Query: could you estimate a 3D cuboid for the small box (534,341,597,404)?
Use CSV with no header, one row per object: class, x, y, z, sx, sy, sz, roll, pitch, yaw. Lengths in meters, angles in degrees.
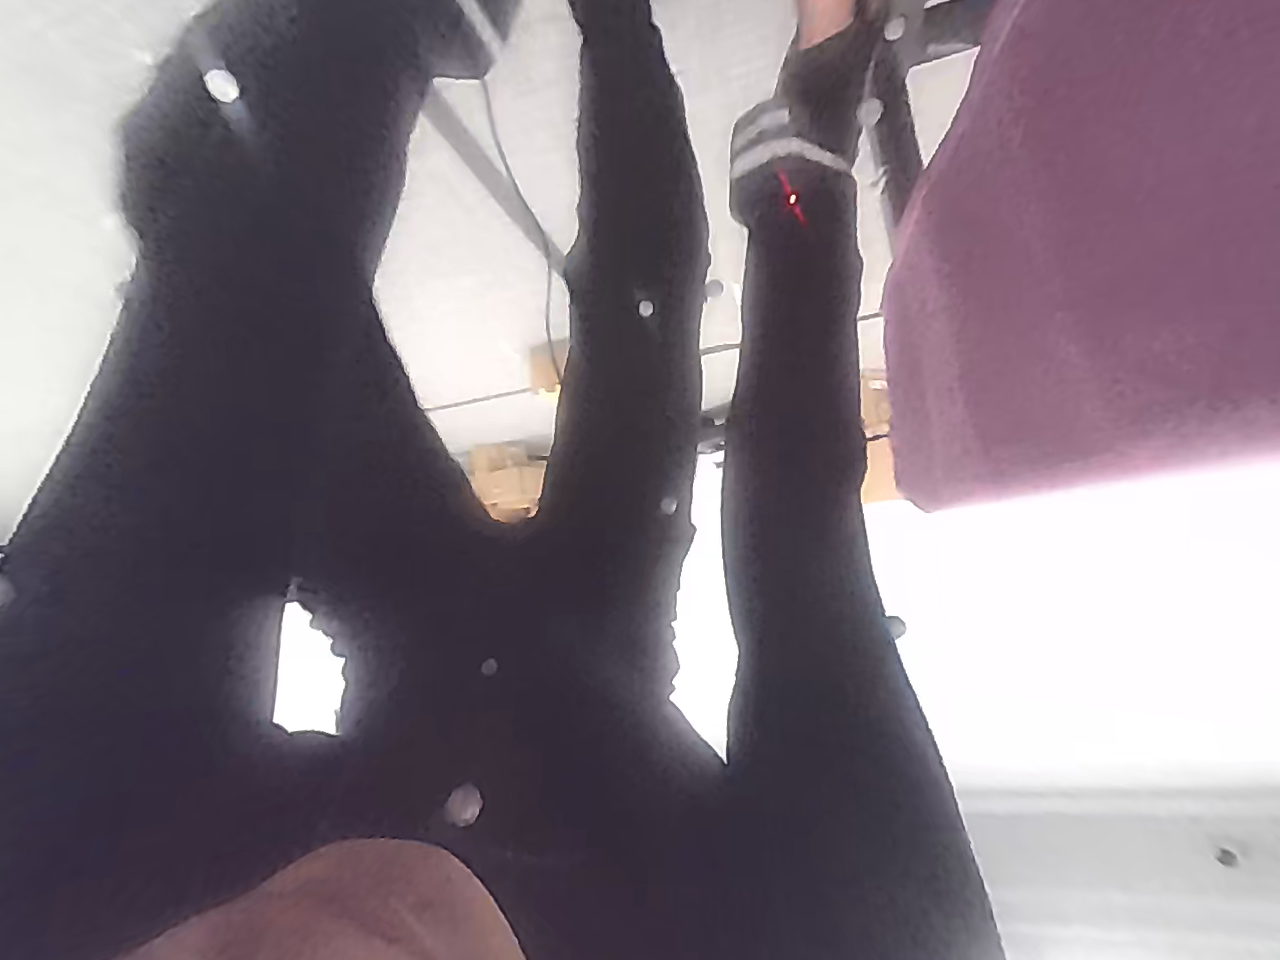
small box,-0.268,-0.385,1.948,0.168,0.176,0.179,-9,172,18
